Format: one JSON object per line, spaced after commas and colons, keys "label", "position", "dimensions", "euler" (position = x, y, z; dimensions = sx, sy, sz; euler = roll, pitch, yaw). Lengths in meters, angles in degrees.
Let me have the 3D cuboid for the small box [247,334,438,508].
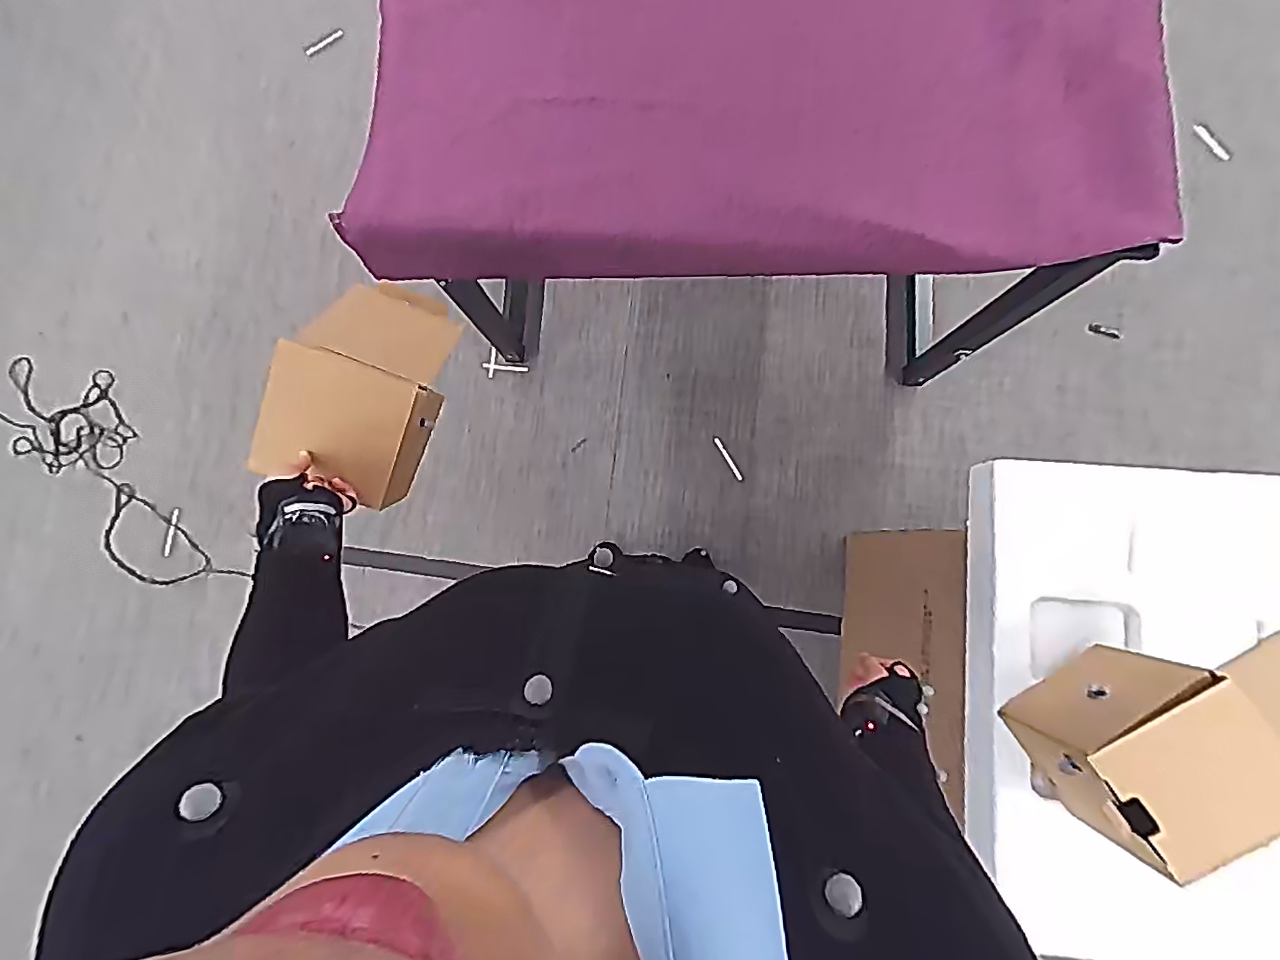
{"label": "small box", "position": [-0.398, -0.079, 0.760], "dimensions": [0.168, 0.176, 0.179], "euler": [21, 90, -13]}
